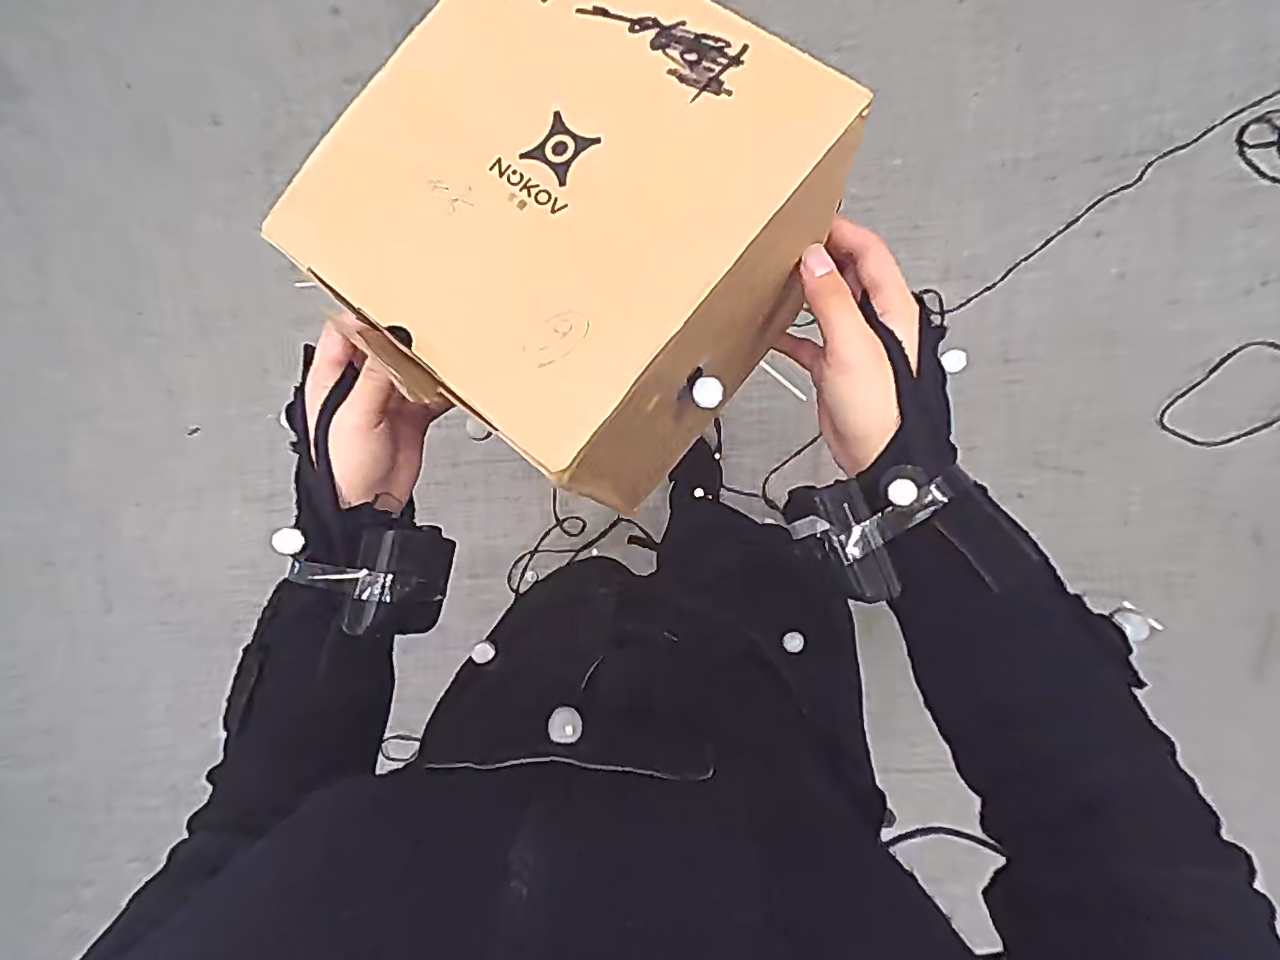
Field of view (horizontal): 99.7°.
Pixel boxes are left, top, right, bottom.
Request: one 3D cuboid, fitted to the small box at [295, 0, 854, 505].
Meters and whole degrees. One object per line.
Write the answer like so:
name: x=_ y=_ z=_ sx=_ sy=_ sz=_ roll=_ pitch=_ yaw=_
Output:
small box: x=-0.021 y=-0.102 z=0.292 sx=0.168 sy=0.176 sz=0.179 roll=39 pitch=89 yaw=11
